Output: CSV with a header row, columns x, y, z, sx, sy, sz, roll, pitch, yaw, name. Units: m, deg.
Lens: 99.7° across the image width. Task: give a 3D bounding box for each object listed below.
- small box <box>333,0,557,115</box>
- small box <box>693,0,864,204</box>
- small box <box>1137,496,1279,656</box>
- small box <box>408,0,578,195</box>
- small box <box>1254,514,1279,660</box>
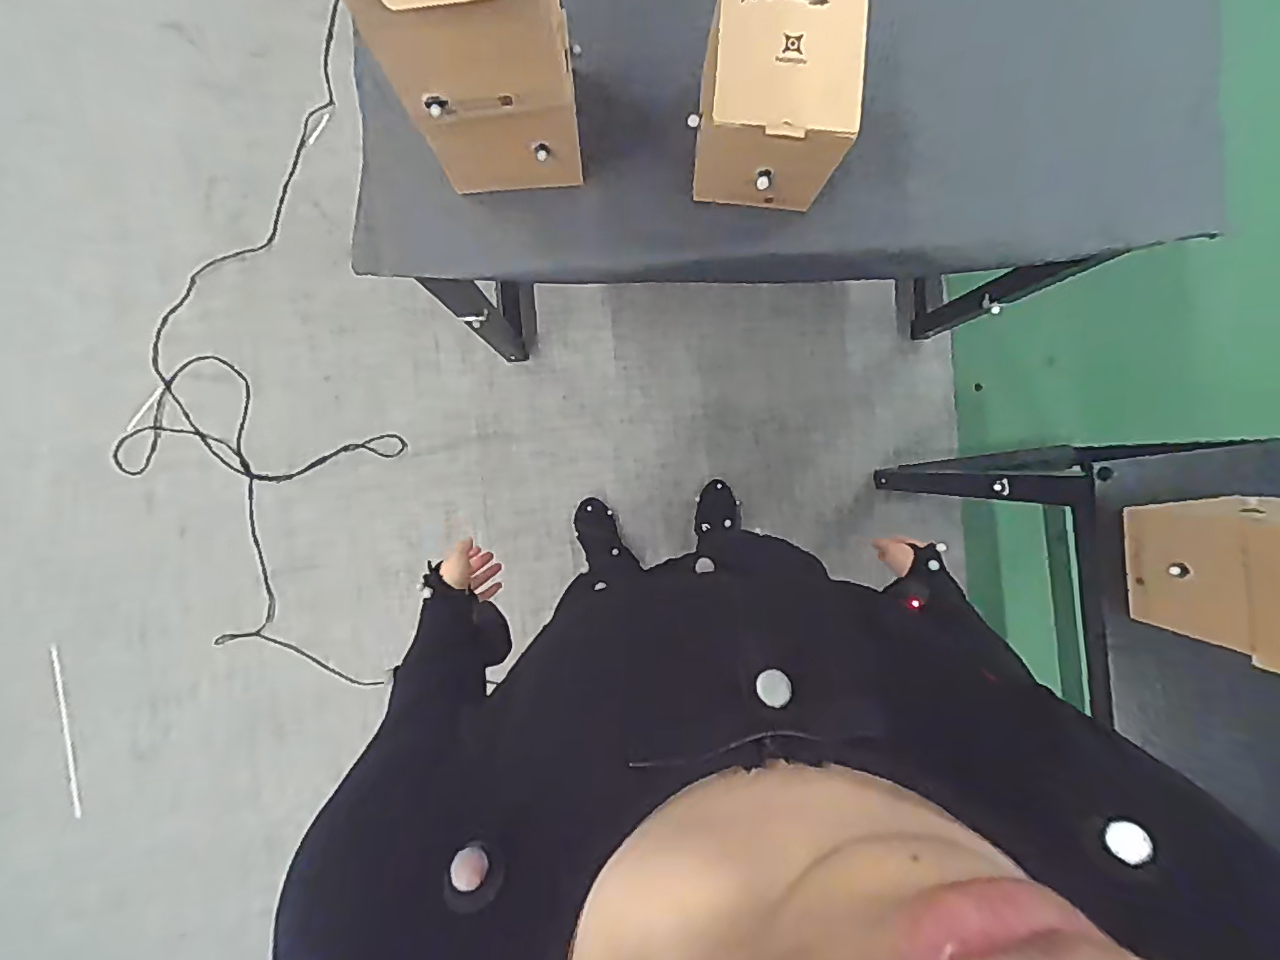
x,y,z,sx,sy,sz,roll,pitch,yaw,name
-0.179,-0.476,0.503,0.168,0.176,0.179,-10,89,-2,small box
0.159,-0.470,0.673,0.168,0.176,0.179,4,91,-1,small box
0.795,0.113,0.699,0.179,0.176,0.168,-6,93,-1,small box
-0.173,-0.480,0.667,0.179,0.176,0.168,-6,89,0,small box
0.783,0.125,0.537,0.168,0.176,0.179,-6,92,-1,small box
